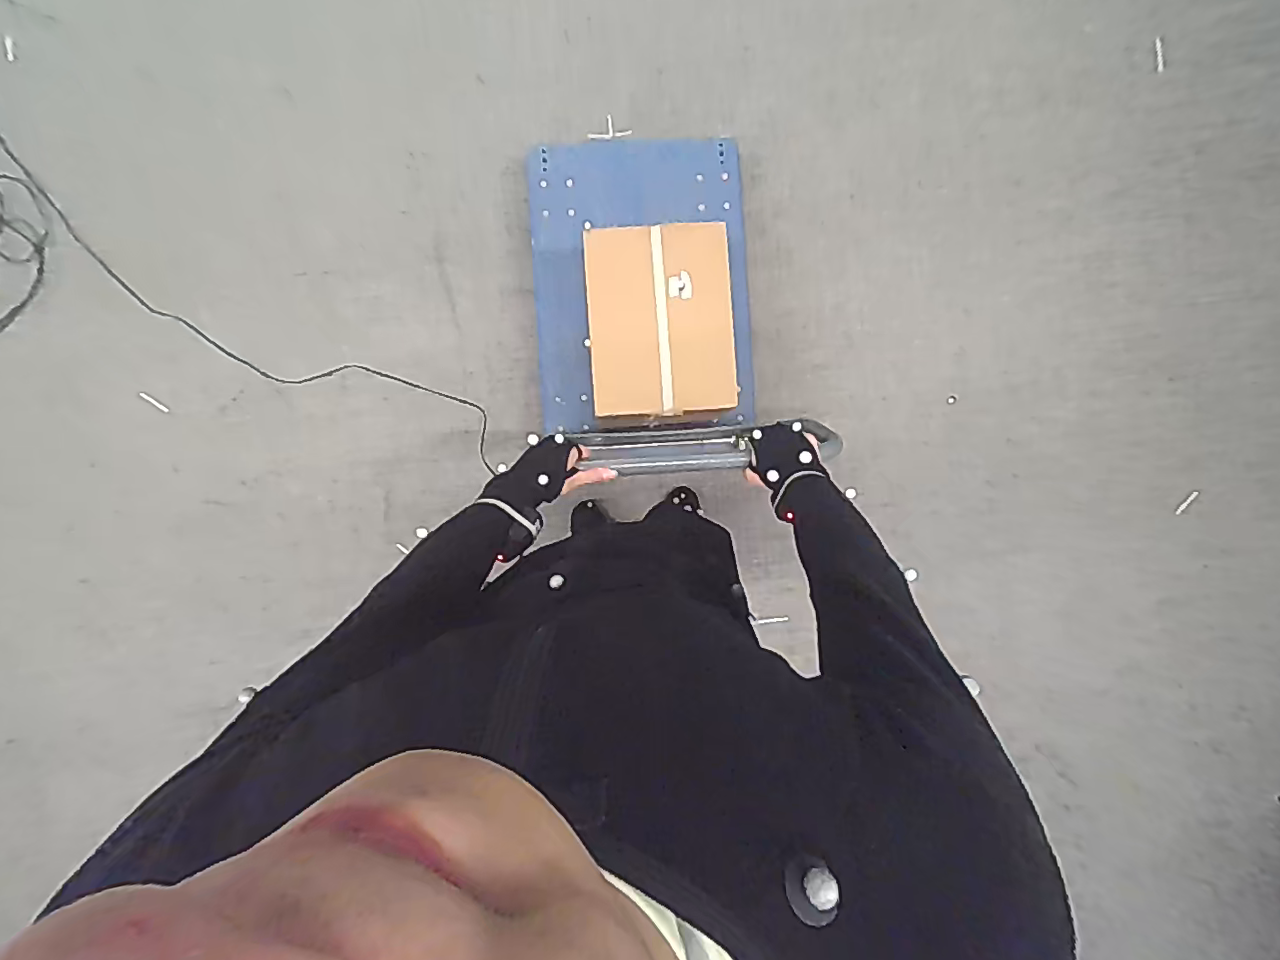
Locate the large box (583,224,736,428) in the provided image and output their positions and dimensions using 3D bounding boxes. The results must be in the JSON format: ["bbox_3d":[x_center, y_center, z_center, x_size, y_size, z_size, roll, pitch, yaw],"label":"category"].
[{"bbox_3d":[0.038,-0.350,1.326,0.320,0.320,0.408,-4,90,-3],"label":"large box"}]
